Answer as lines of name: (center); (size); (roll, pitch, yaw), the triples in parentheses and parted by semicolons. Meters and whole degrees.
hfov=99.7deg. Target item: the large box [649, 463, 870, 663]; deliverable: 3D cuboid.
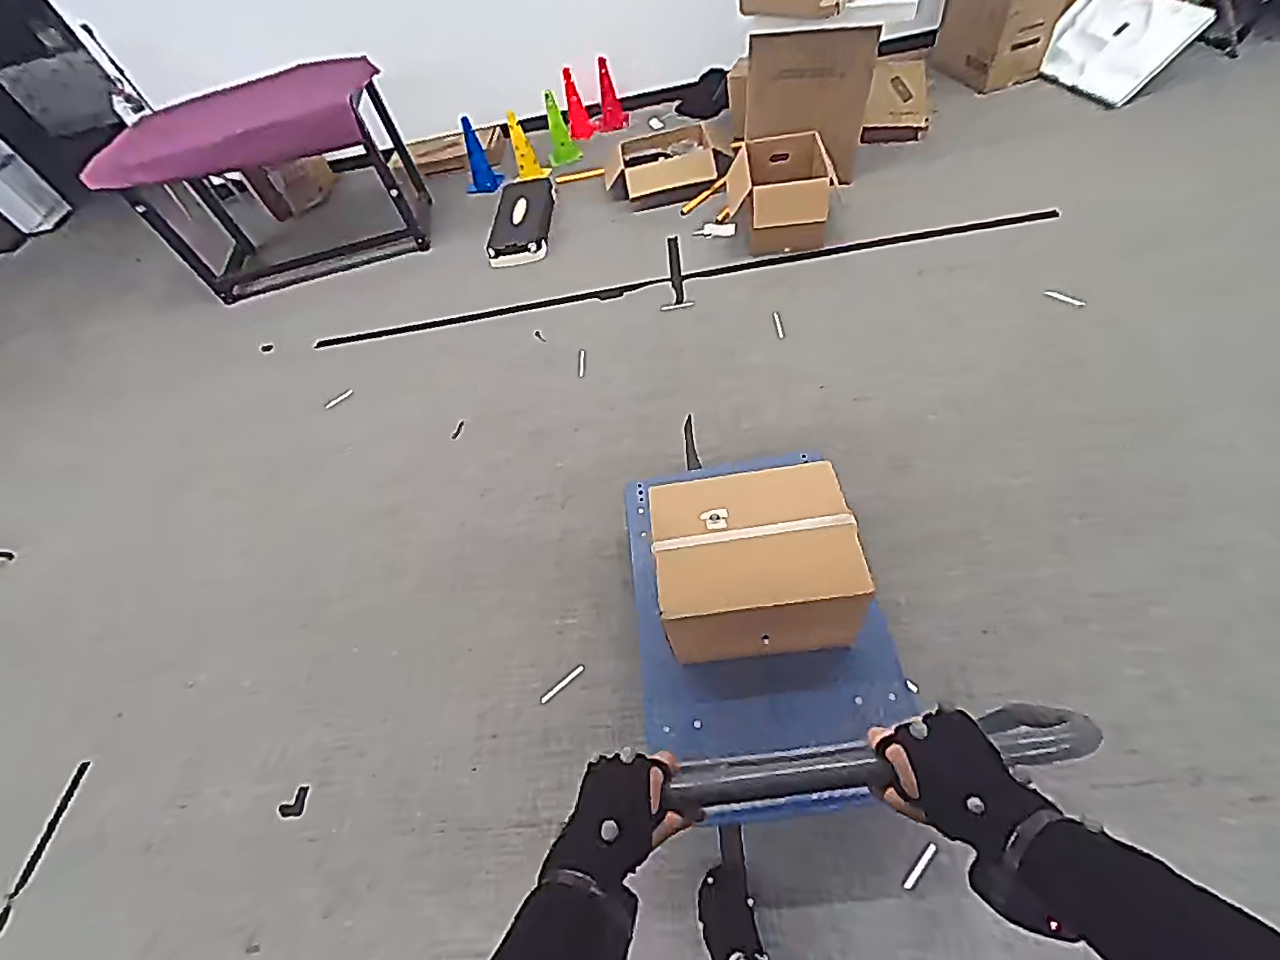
large box: (0.255, 0.203, 1.239); (0.408, 0.320, 0.320); (-10, 53, 6)
